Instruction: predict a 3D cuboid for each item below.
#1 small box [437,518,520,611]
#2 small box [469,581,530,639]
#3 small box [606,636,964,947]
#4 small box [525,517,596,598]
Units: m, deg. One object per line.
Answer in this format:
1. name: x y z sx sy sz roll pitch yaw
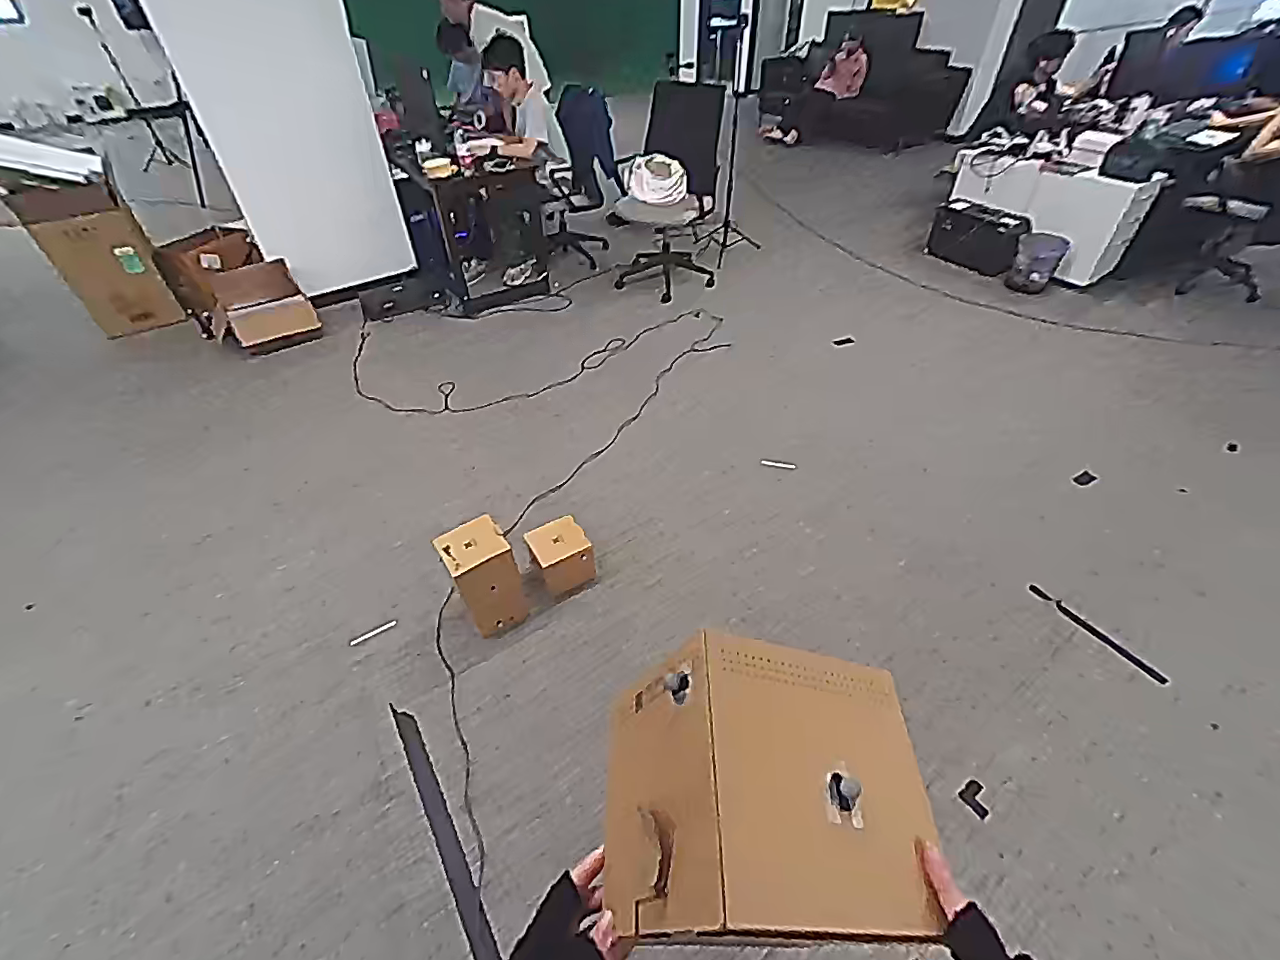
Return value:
1. small box: -0.468 0.249 1.589 0.179 0.176 0.168 -26 48 -23
2. small box: -0.465 0.365 1.706 0.168 0.176 0.179 -26 49 -22
3. small box: 0.087 0.236 0.409 0.179 0.168 0.176 17 46 -19
4. small box: -0.261 0.263 1.809 0.179 0.176 0.168 -23 47 -23
